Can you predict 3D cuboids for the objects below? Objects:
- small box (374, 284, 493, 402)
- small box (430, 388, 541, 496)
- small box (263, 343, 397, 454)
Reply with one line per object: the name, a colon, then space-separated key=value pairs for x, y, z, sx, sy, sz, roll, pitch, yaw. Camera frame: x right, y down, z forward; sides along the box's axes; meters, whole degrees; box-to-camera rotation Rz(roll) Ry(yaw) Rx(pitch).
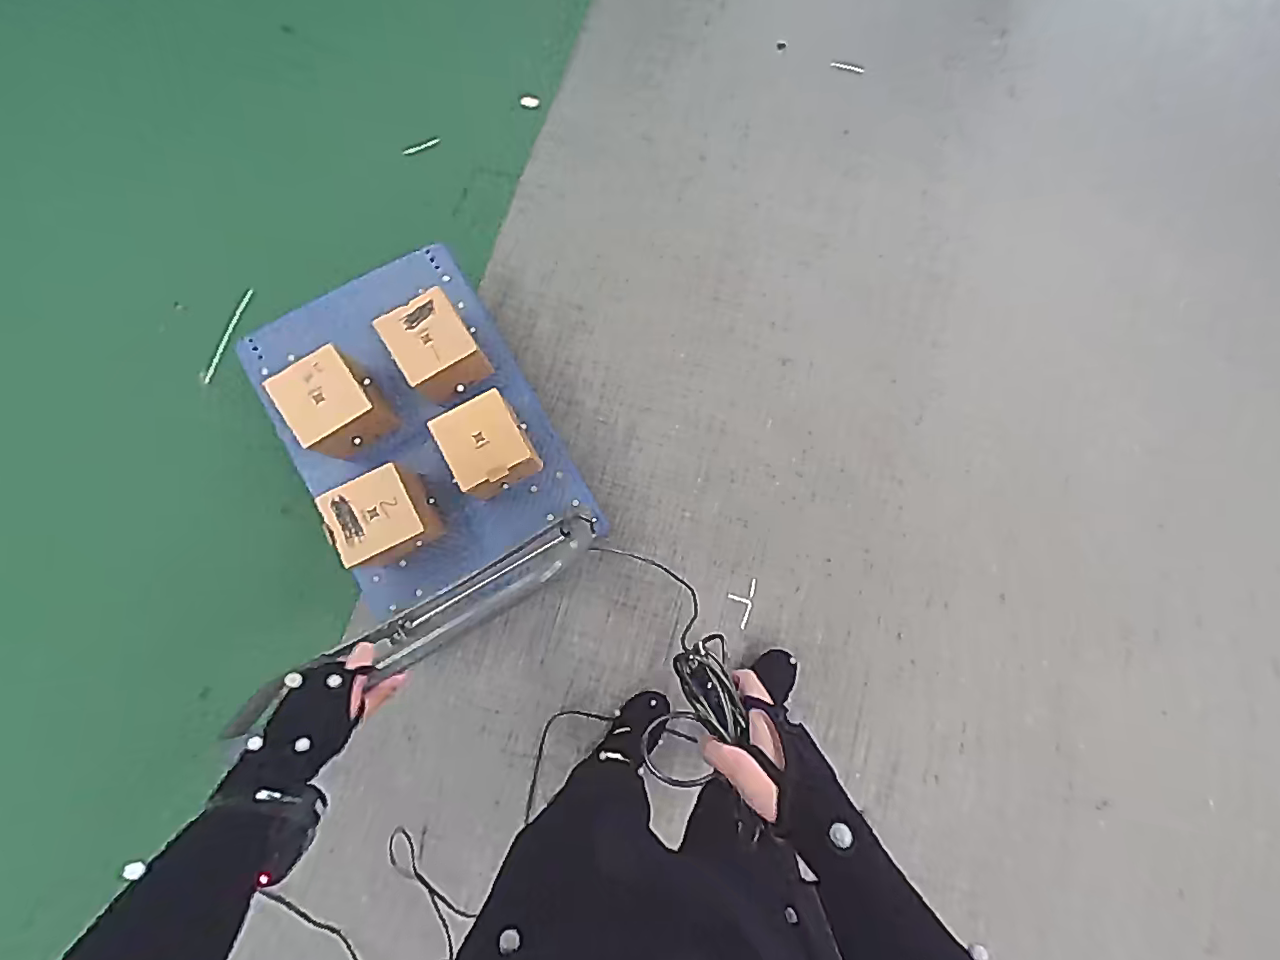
small box: x=-0.464 y=-0.305 z=1.241 sx=0.168 sy=0.176 sz=0.179 roll=-32 pitch=87 yaw=-5
small box: x=-0.341 y=-0.077 z=1.225 sx=0.168 sy=0.176 sz=0.179 roll=-29 pitch=87 yaw=-6
small box: x=-0.682 y=-0.171 z=1.215 sx=0.168 sy=0.176 sz=0.179 roll=-33 pitch=87 yaw=-7
